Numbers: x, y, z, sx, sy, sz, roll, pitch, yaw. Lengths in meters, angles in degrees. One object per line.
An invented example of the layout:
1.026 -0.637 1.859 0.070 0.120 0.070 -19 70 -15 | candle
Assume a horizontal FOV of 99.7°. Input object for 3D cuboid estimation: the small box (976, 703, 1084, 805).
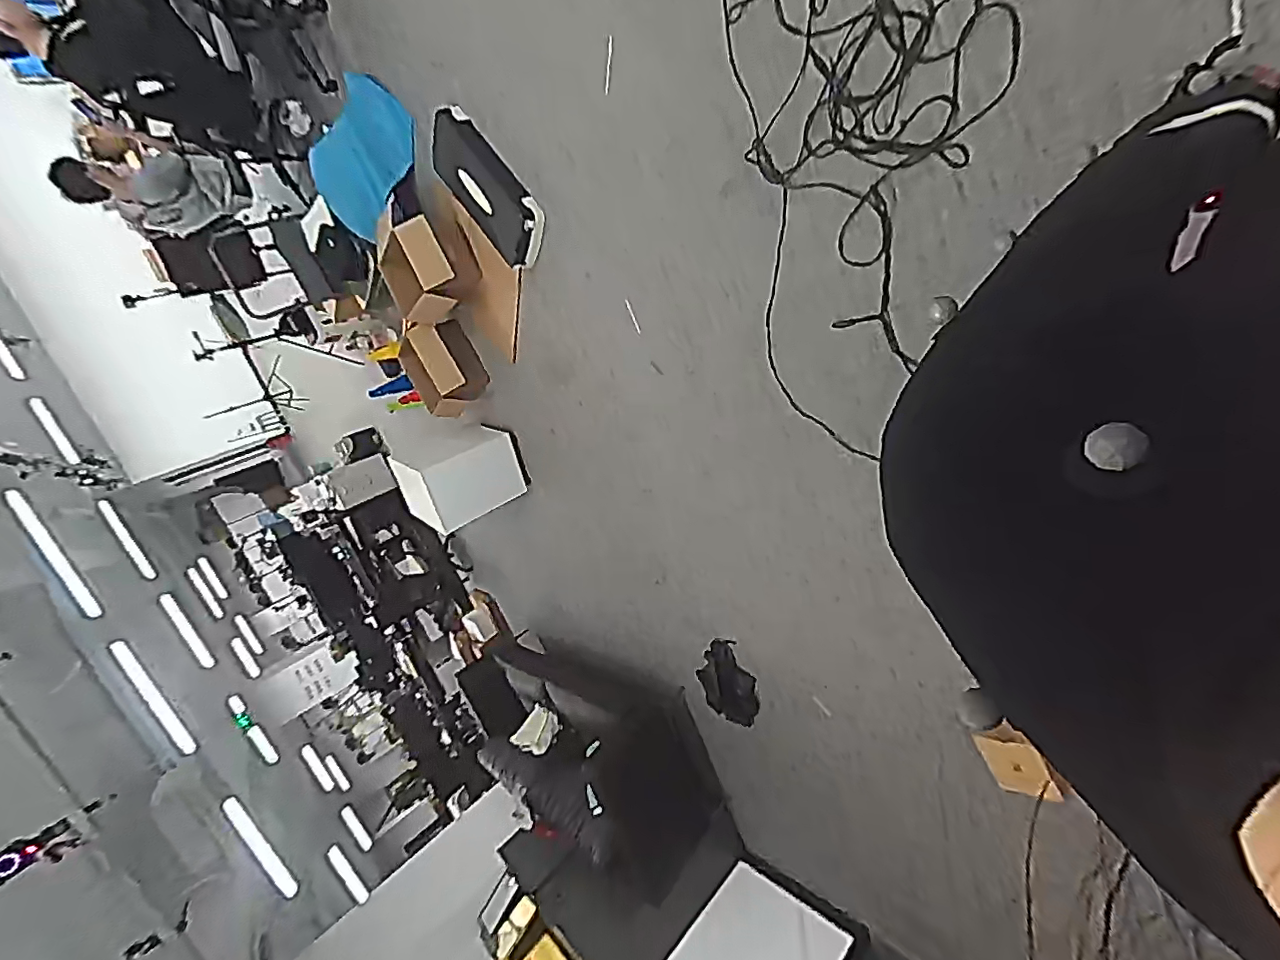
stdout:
1.077 0.746 1.495 0.179 0.176 0.168 60 148 -2 | small box
